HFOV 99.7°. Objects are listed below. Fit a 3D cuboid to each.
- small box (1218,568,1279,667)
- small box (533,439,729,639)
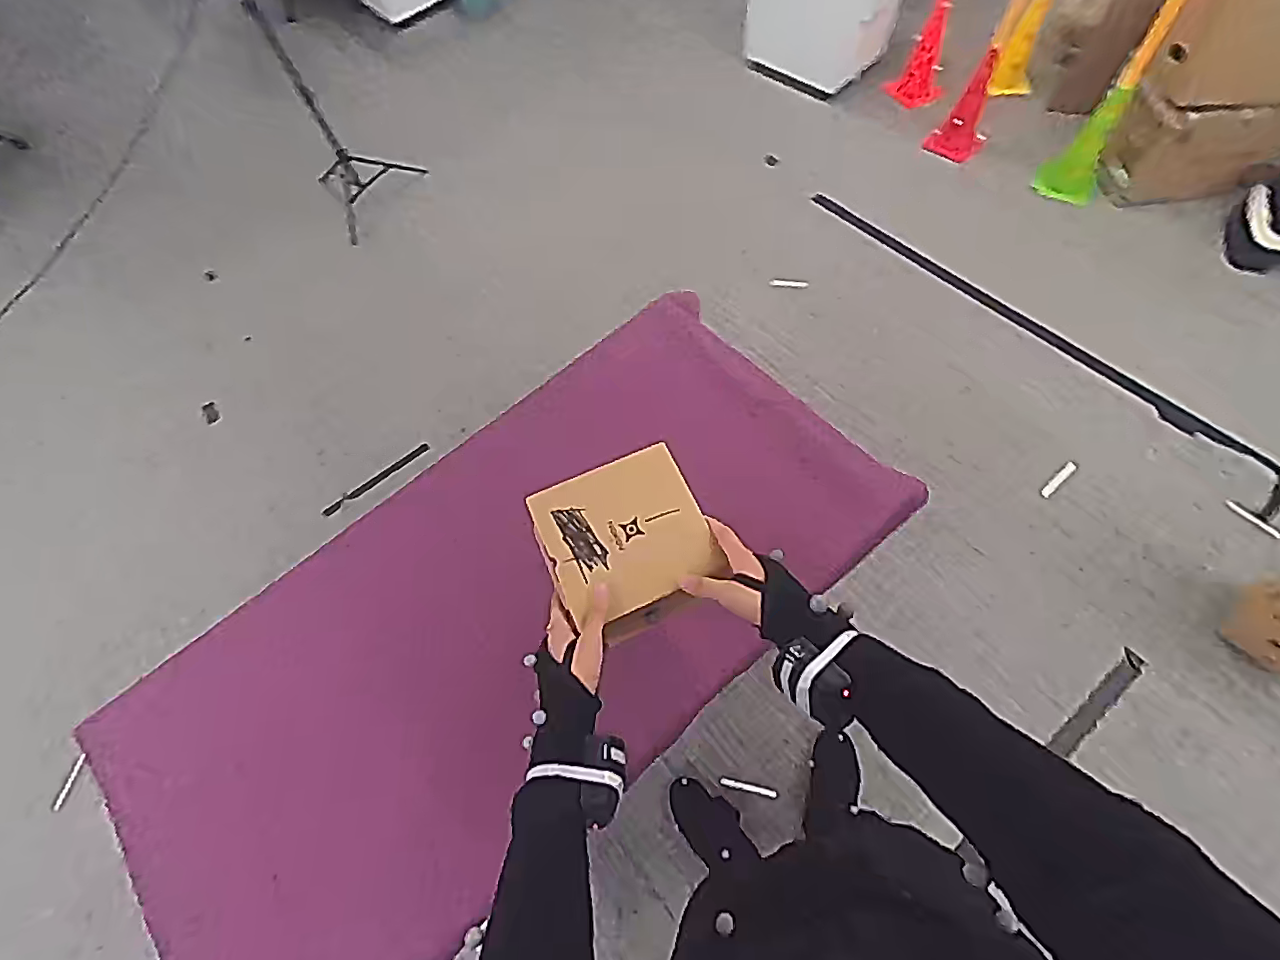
[{"bbox_3d":[1.592,0.336,1.319,0.179,0.176,0.168,-43,68,-14],"label":"small box"},{"bbox_3d":[-0.004,0.083,0.665,0.179,0.176,0.168,-25,69,-3],"label":"small box"}]
